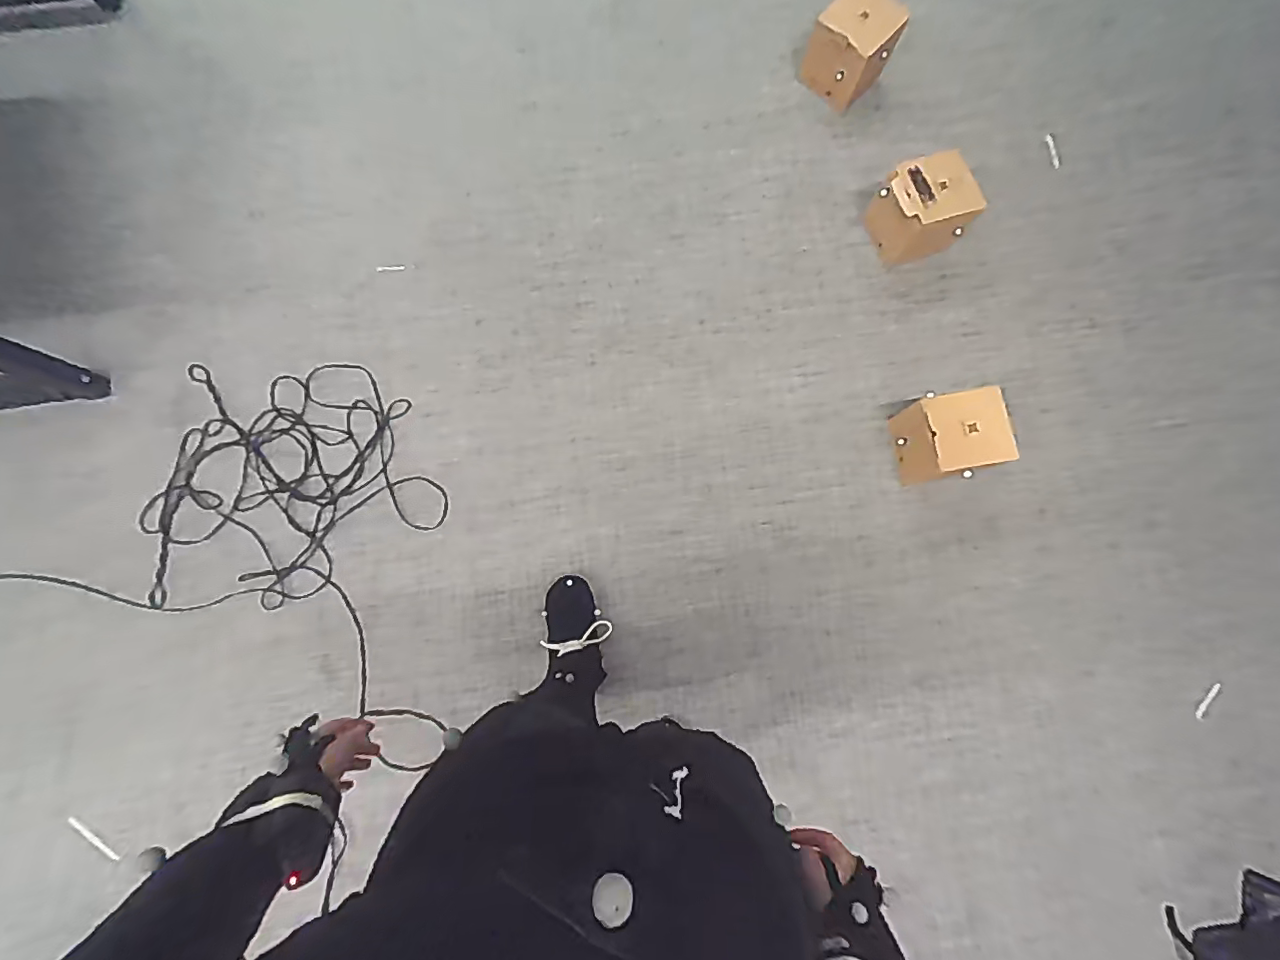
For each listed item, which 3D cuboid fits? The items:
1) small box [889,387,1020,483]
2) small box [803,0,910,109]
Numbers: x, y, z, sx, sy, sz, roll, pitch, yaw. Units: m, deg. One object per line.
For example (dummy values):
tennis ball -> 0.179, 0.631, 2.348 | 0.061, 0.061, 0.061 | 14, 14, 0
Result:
small box -> 0.698, -0.096, 1.219 | 0.179, 0.176, 0.168 | -9, 80, -2
small box -> 0.549, -1.122, 1.405 | 0.168, 0.176, 0.179 | 42, 81, 5
